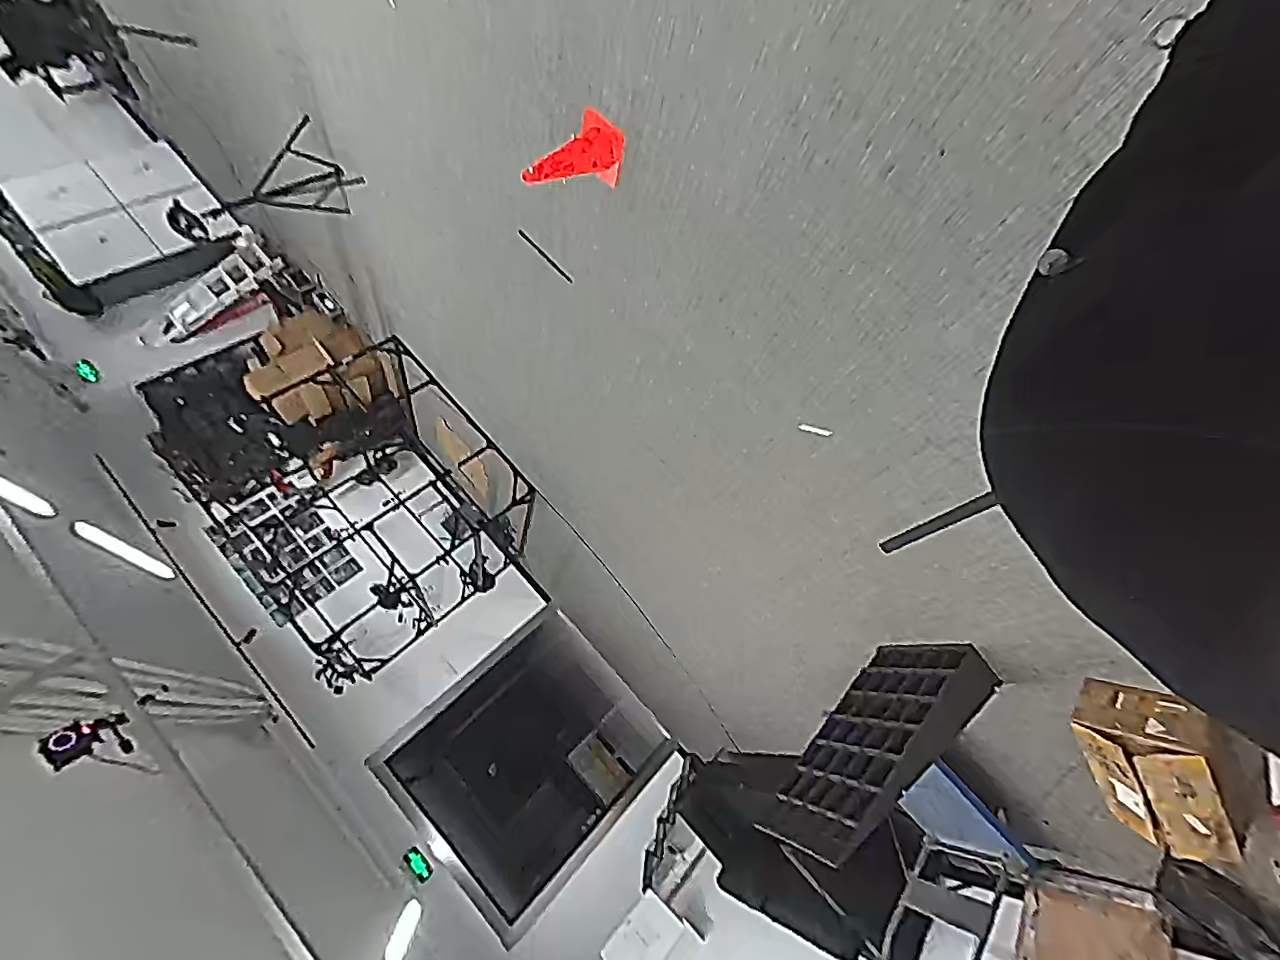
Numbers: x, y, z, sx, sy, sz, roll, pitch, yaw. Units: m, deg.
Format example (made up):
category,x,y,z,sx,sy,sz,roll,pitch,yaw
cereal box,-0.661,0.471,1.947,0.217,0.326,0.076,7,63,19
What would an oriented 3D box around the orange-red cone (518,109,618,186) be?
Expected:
category,x,y,z,sx,sy,sz,roll,pitch,yaw
orange-red cone,-0.273,-1.102,1.877,0.199,0.360,0.198,43,153,11
